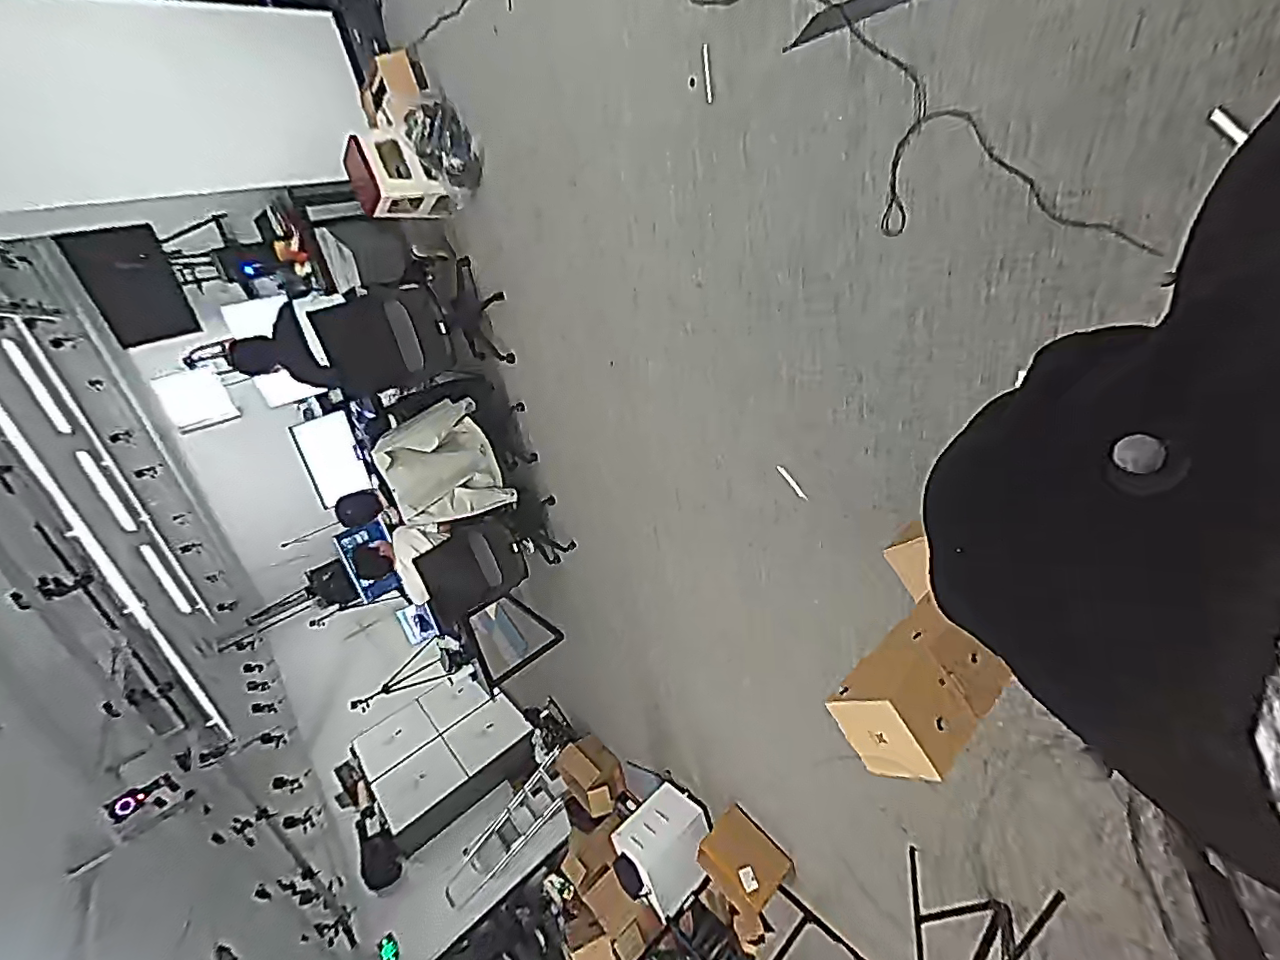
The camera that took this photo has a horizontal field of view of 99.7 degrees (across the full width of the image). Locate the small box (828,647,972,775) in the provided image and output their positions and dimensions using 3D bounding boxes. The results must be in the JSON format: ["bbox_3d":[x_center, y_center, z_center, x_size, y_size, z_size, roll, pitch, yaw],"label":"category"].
[{"bbox_3d":[0.523,0.452,1.078,0.168,0.176,0.179,57,149,7],"label":"small box"}]

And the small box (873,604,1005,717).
[{"bbox_3d":[0.645,0.388,1.164,0.168,0.176,0.179,57,147,8],"label":"small box"}]
